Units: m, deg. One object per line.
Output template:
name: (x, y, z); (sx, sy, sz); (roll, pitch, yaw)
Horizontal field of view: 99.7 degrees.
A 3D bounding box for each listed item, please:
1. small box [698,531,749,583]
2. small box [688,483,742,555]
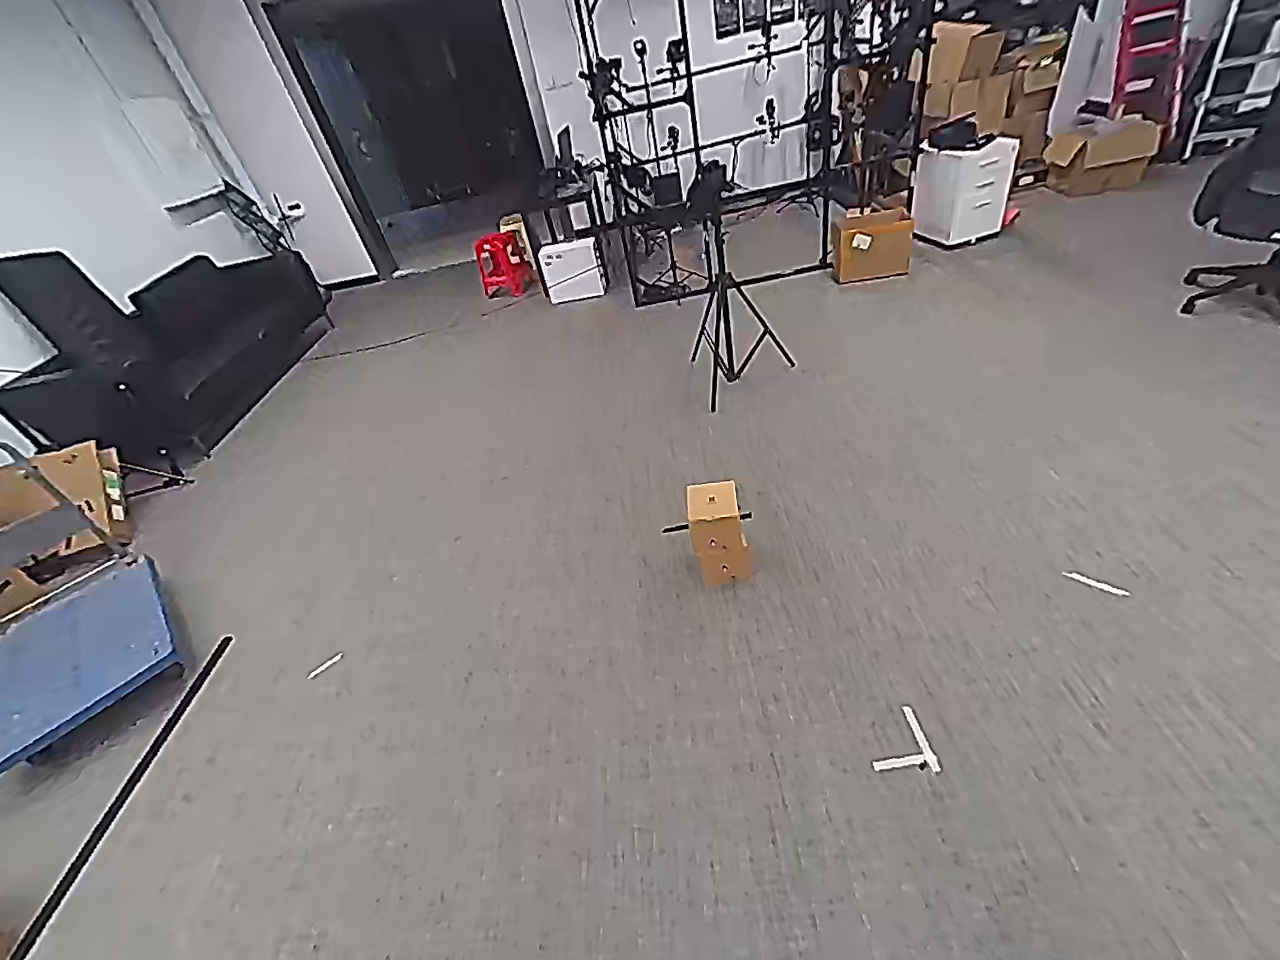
small box: (0.293, 0.255, 1.950); (0.168, 0.176, 0.179); (-11, 37, 3)
small box: (0.256, 0.134, 1.847); (0.168, 0.176, 0.179); (-7, 39, 9)
